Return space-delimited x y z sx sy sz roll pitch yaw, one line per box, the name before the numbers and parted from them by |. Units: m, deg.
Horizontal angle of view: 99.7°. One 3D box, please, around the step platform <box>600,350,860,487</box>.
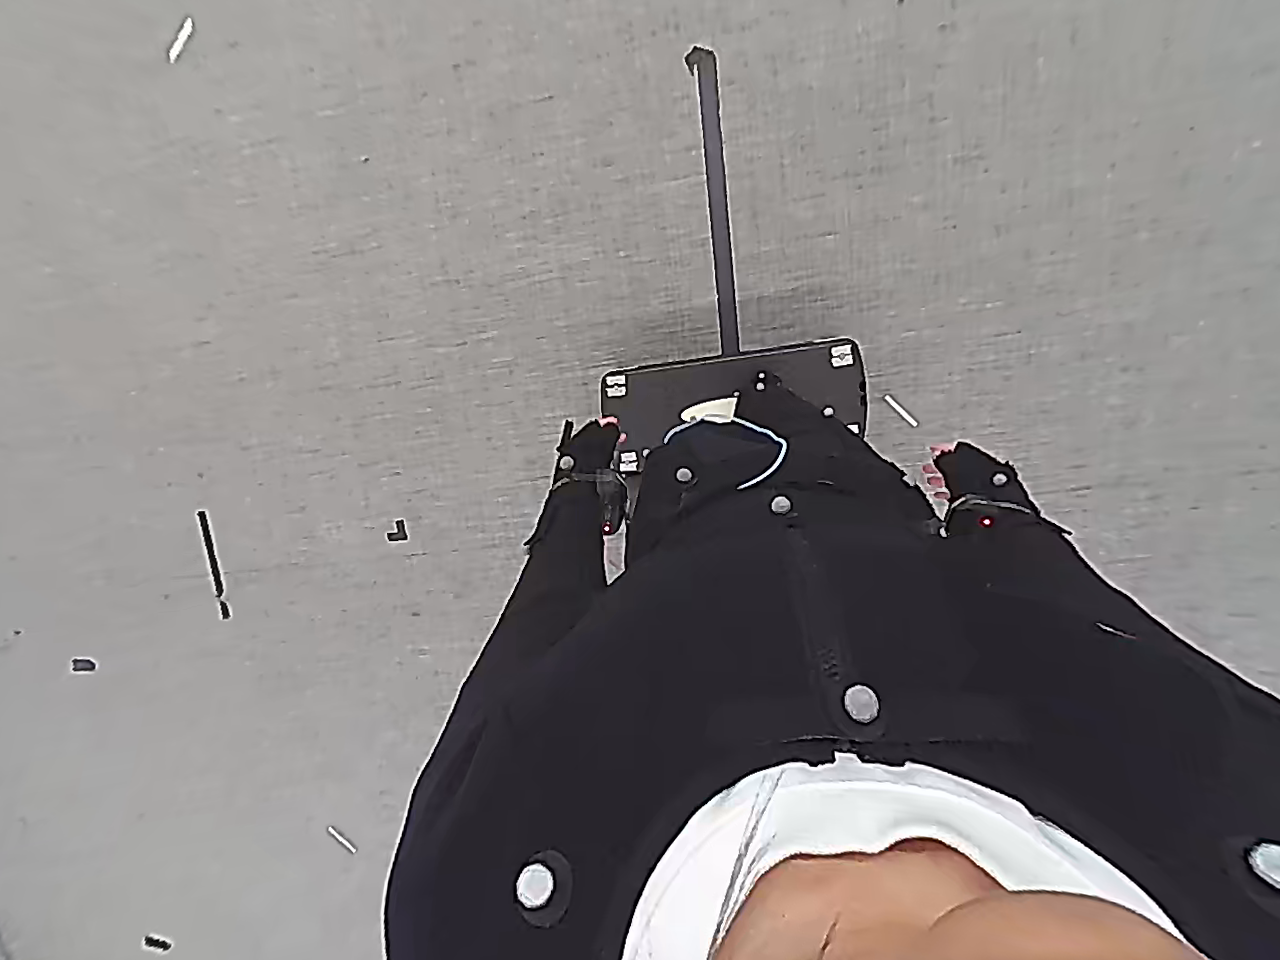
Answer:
step platform | 0.232 -0.163 1.473 0.684 0.204 0.286 -7 100 9
